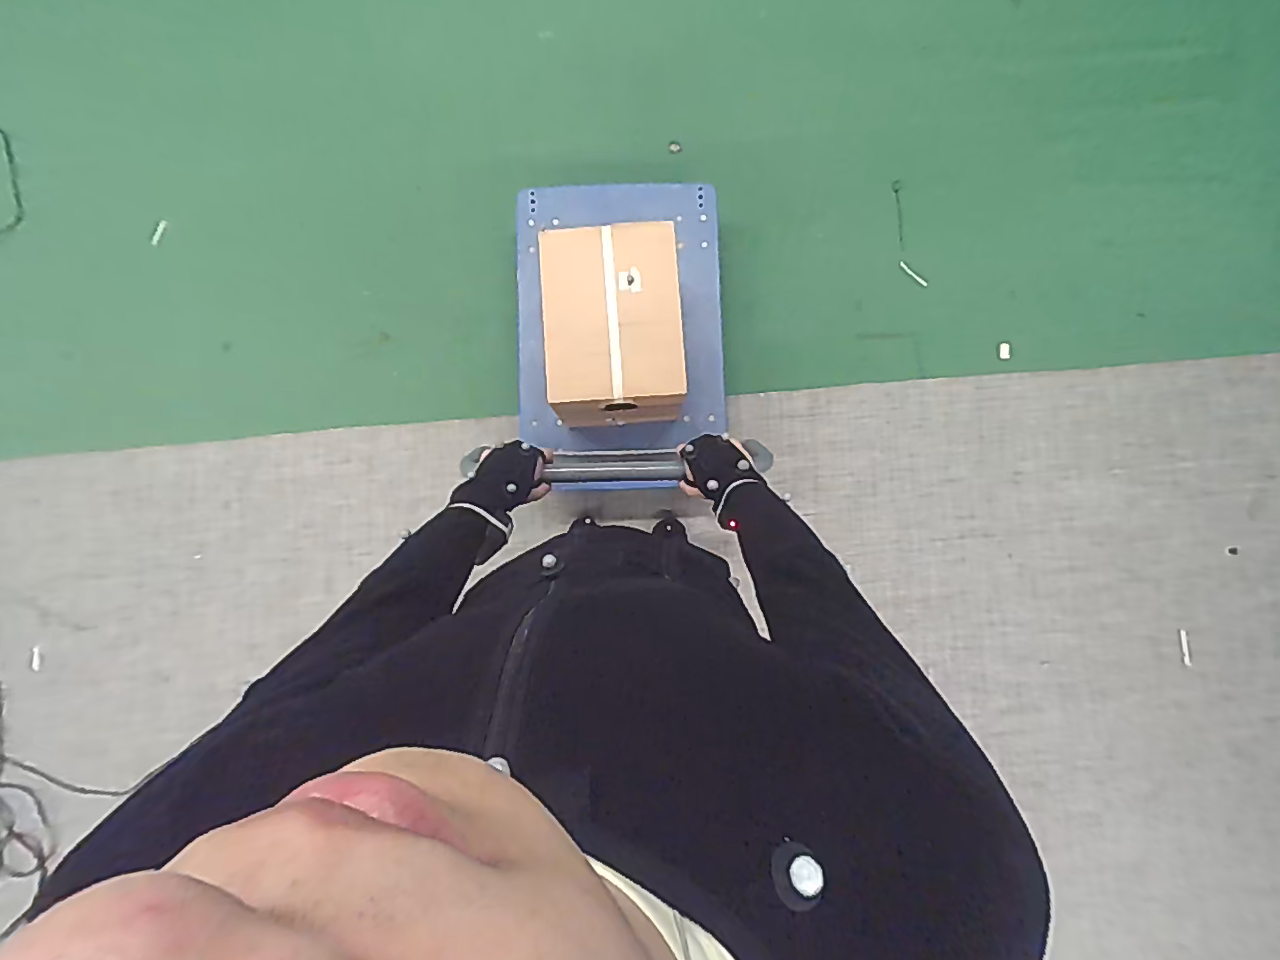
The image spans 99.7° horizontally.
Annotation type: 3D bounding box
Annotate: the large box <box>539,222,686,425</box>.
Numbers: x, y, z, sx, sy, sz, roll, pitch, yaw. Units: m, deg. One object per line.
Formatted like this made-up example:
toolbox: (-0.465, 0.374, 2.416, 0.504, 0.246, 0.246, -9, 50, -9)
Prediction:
large box: (-0.062, -0.372, 1.373, 0.320, 0.320, 0.408, -4, 86, 0)
